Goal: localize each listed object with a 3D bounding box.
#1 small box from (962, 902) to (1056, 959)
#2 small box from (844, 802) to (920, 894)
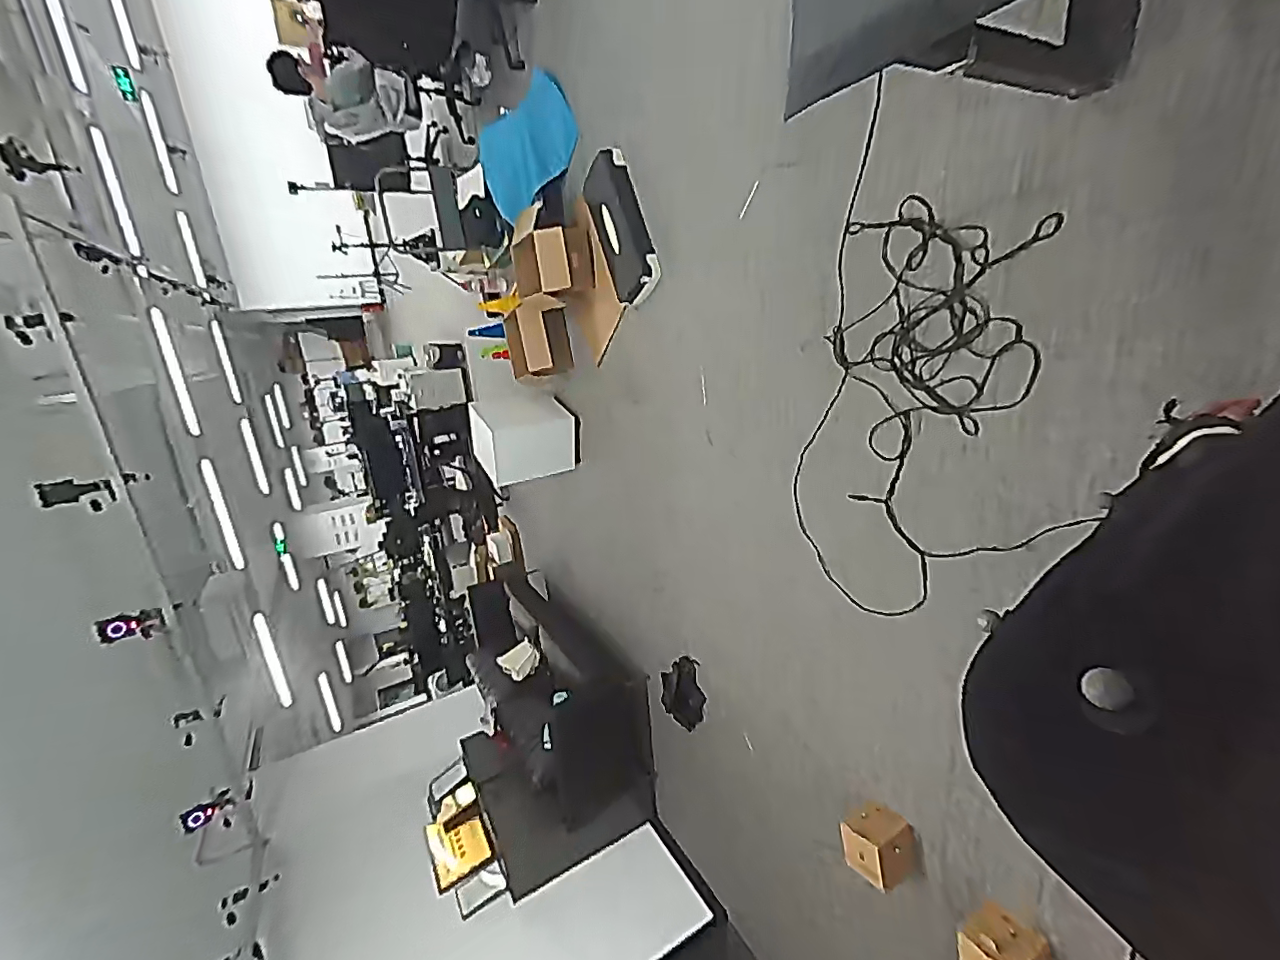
[{"bbox_3d":[1.060,1.381,1.549,0.168,0.176,0.179,6,107,61],"label":"small box"},{"bbox_3d":[0.852,1.281,1.900,0.168,0.176,0.179,0,104,63],"label":"small box"}]
